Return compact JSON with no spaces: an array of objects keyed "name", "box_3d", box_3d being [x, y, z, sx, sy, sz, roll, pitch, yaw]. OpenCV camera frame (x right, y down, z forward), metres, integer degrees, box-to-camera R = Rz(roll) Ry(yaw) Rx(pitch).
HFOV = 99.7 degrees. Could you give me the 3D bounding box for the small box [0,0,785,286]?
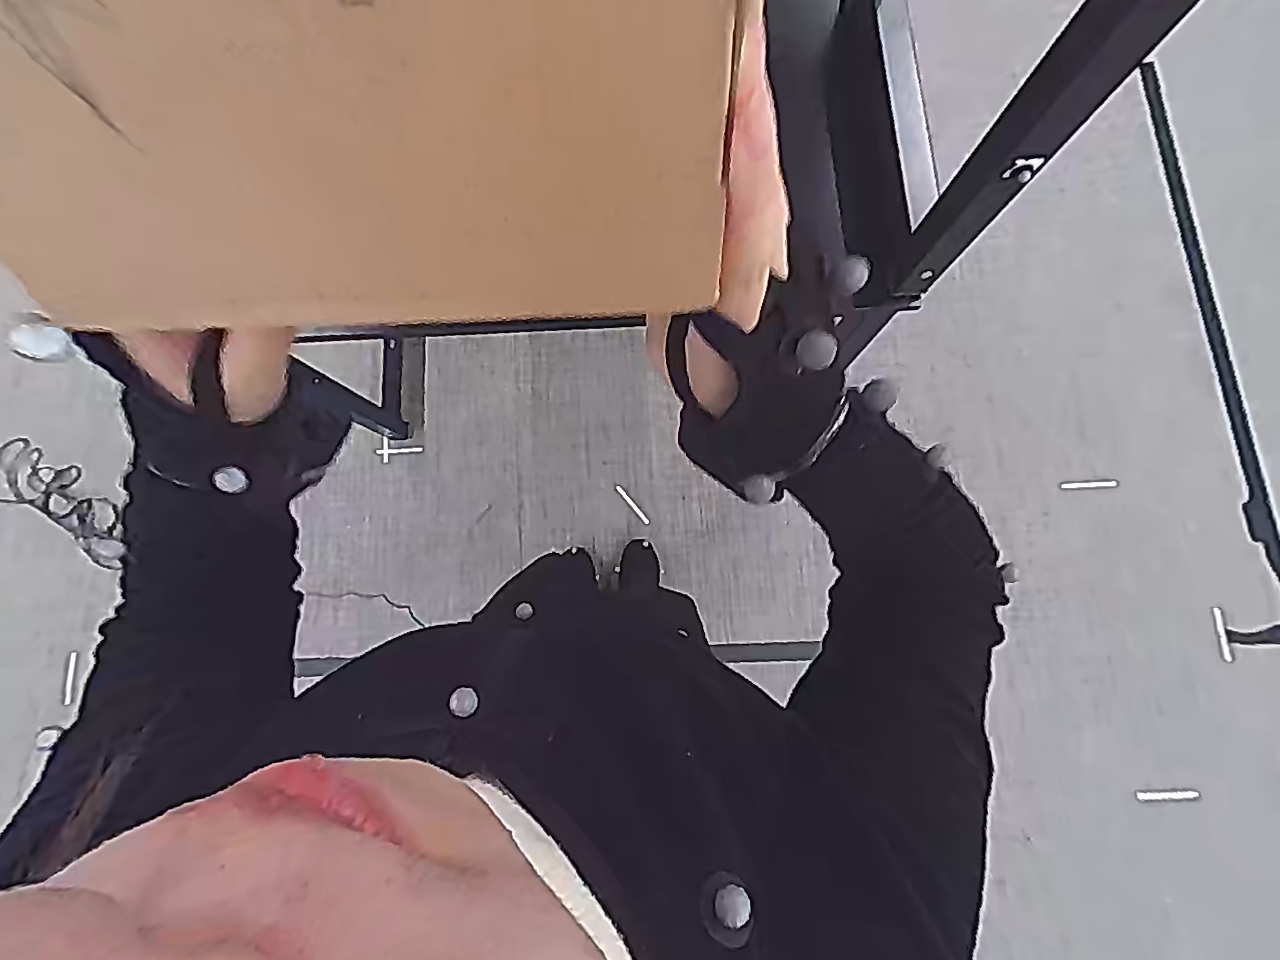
[{"name":"small box","box_3d":[-0.065,-0.163,0.123,0.179,0.168,0.176,-2,47,-1]}]
